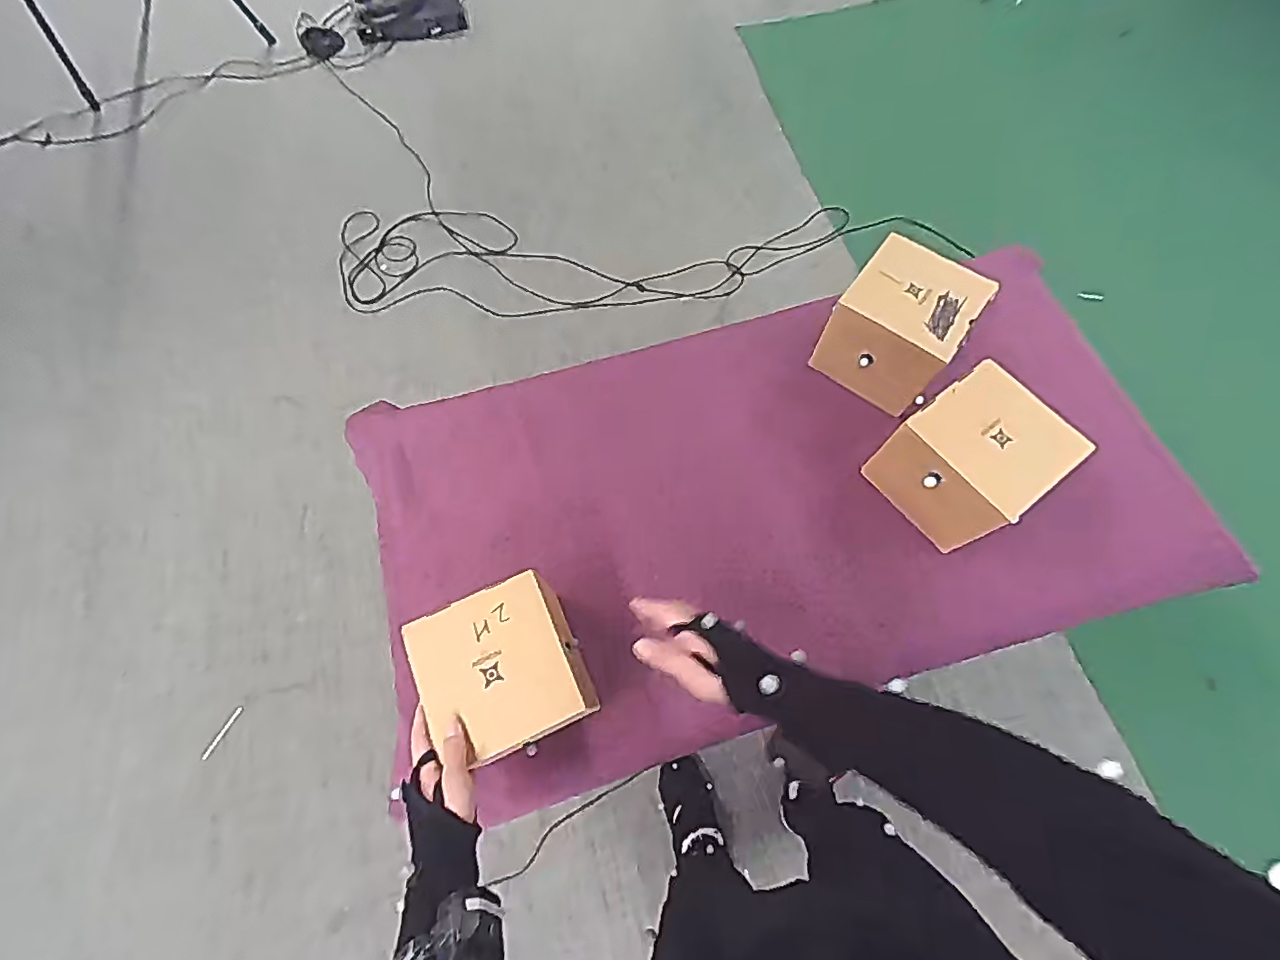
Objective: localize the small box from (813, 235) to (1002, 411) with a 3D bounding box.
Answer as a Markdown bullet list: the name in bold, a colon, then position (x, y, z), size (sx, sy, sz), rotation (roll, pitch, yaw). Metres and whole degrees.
- **small box**: position (0.404, -0.232, 0.846), size (0.179, 0.176, 0.168), rotation (37, 74, 14)

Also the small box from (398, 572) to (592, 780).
- **small box**: position (-0.168, 0.238, 0.674), size (0.168, 0.176, 0.179), rotation (-22, 69, -8)

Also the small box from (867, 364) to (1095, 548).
- **small box**: position (0.463, -0.021, 0.766), size (0.168, 0.176, 0.179), rotation (-35, 71, -11)
